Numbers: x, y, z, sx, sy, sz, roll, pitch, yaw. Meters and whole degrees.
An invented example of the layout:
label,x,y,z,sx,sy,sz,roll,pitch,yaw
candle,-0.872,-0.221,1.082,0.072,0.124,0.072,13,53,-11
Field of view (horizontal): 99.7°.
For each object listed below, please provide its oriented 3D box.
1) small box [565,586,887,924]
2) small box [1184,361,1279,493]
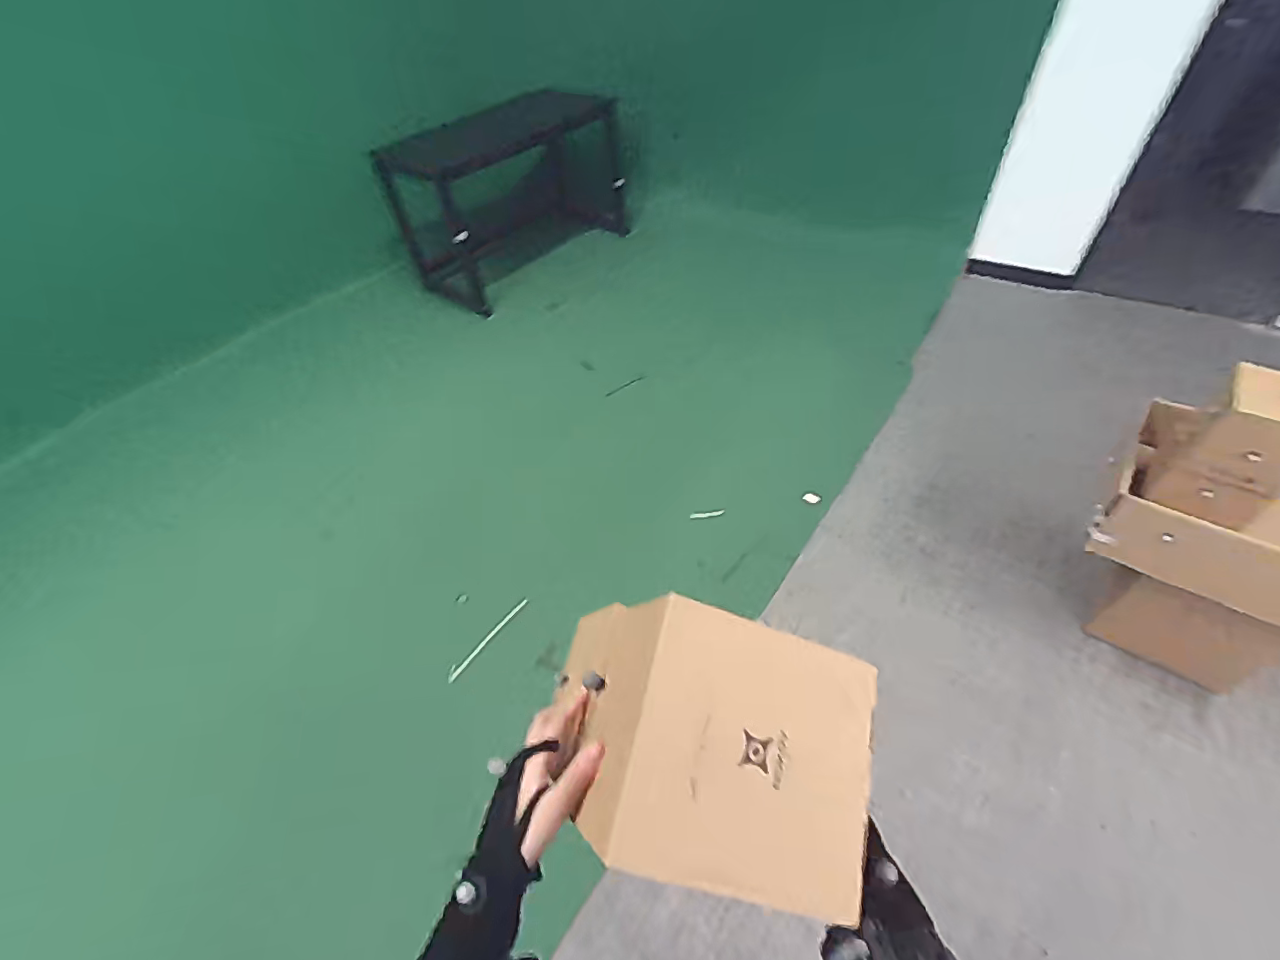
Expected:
label,x,y,z,sx,sy,sz,roll,pitch,yaw
small box,0.058,0.201,0.427,0.179,0.176,0.168,23,64,-8
small box,1.248,-0.104,1.083,0.168,0.176,0.179,26,56,28
